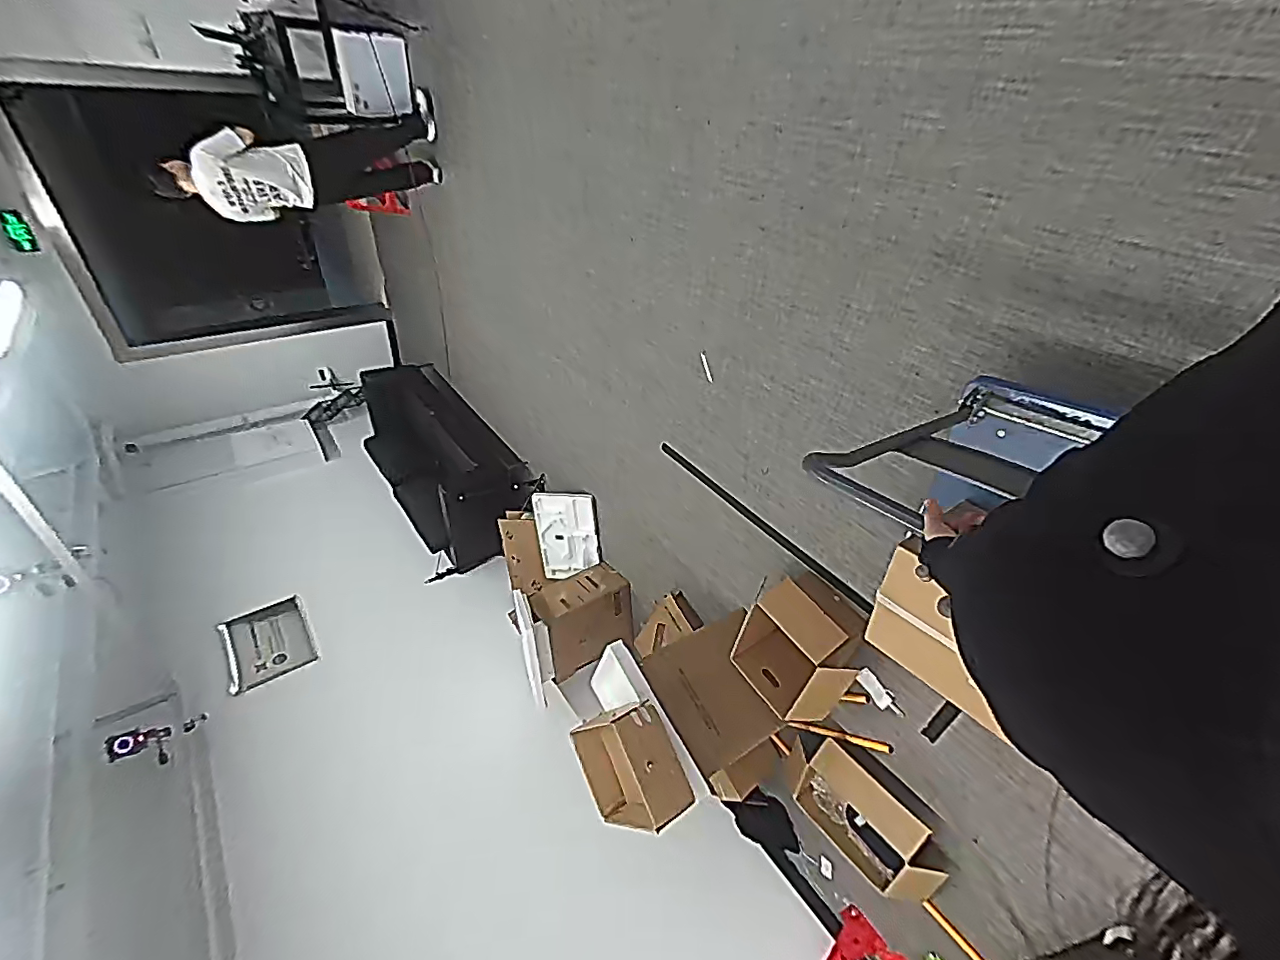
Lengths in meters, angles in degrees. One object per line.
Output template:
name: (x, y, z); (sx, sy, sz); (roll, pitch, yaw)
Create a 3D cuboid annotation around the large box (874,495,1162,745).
large box: (0.831, 0.288, 1.237); (0.408, 0.320, 0.320); (36, 136, 42)
